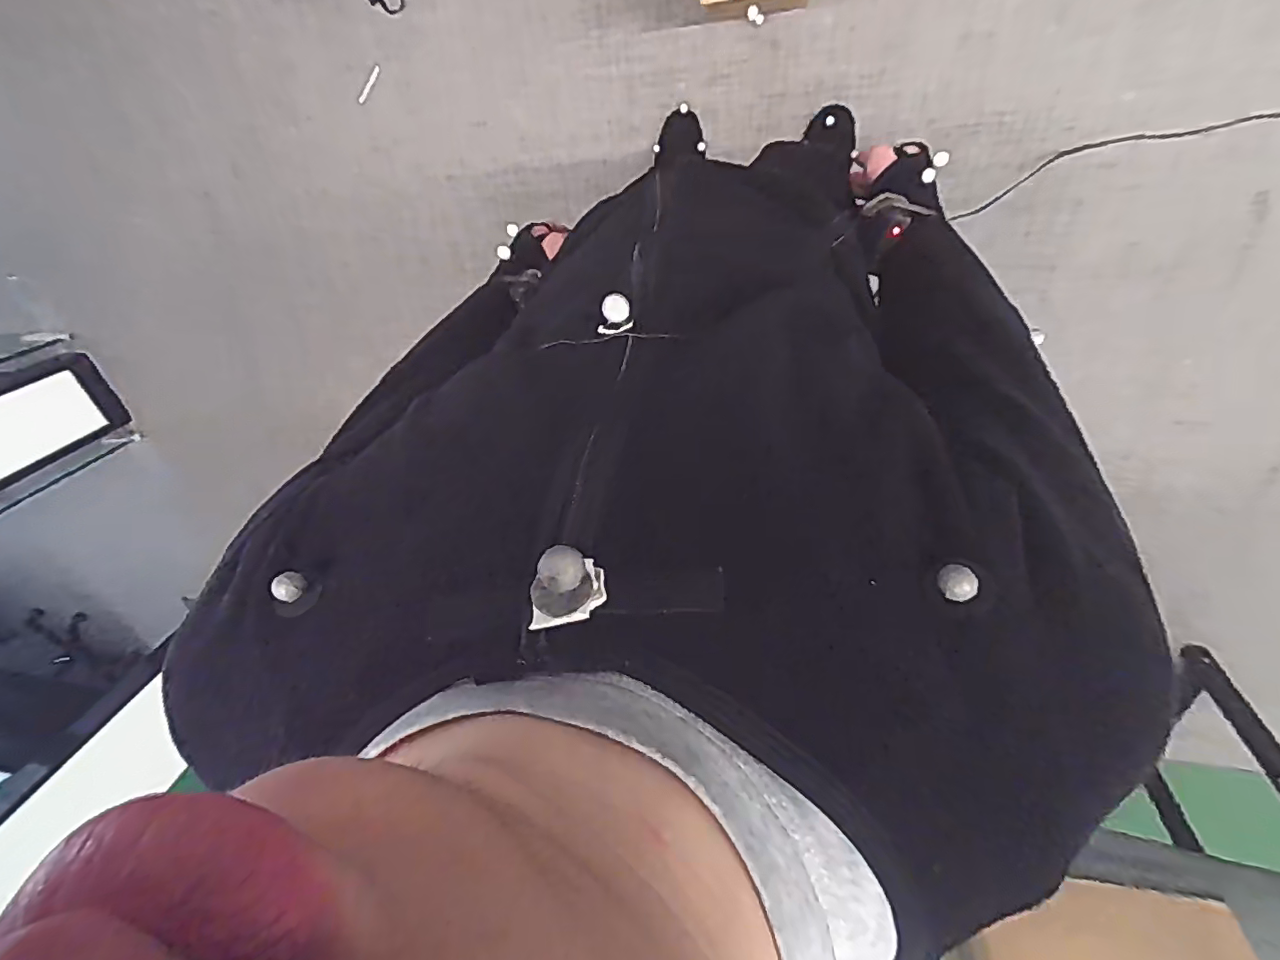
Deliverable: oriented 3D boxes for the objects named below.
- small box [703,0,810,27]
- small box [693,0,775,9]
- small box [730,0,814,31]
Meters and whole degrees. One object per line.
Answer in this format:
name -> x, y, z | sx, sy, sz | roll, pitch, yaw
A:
small box -> 0.188, -0.848, 0.855 | 0.168, 0.176, 0.179 | 3, 126, 15
small box -> 0.147, -0.757, 0.726 | 0.179, 0.176, 0.168 | 4, 126, 14
small box -> 0.232, -0.945, 0.981 | 0.168, 0.176, 0.179 | 2, 126, 15
